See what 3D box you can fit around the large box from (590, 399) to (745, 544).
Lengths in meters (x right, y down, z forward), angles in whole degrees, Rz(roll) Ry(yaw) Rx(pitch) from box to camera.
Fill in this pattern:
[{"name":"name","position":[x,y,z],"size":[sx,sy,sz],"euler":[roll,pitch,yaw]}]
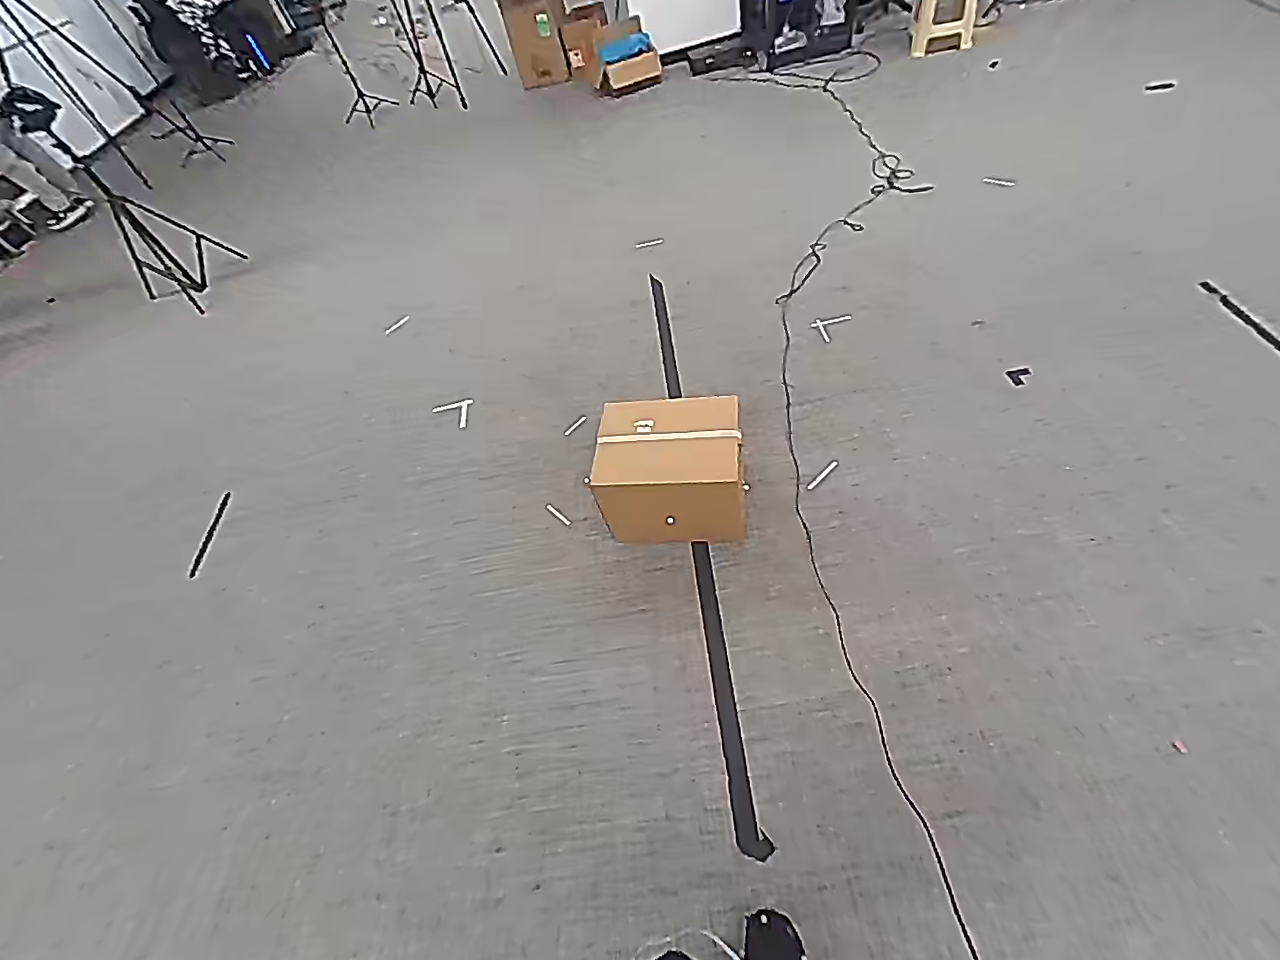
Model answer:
[{"name":"large box","position":[0.103,-0.013,1.627],"size":[0.408,0.320,0.320],"euler":[-2,52,14]}]
